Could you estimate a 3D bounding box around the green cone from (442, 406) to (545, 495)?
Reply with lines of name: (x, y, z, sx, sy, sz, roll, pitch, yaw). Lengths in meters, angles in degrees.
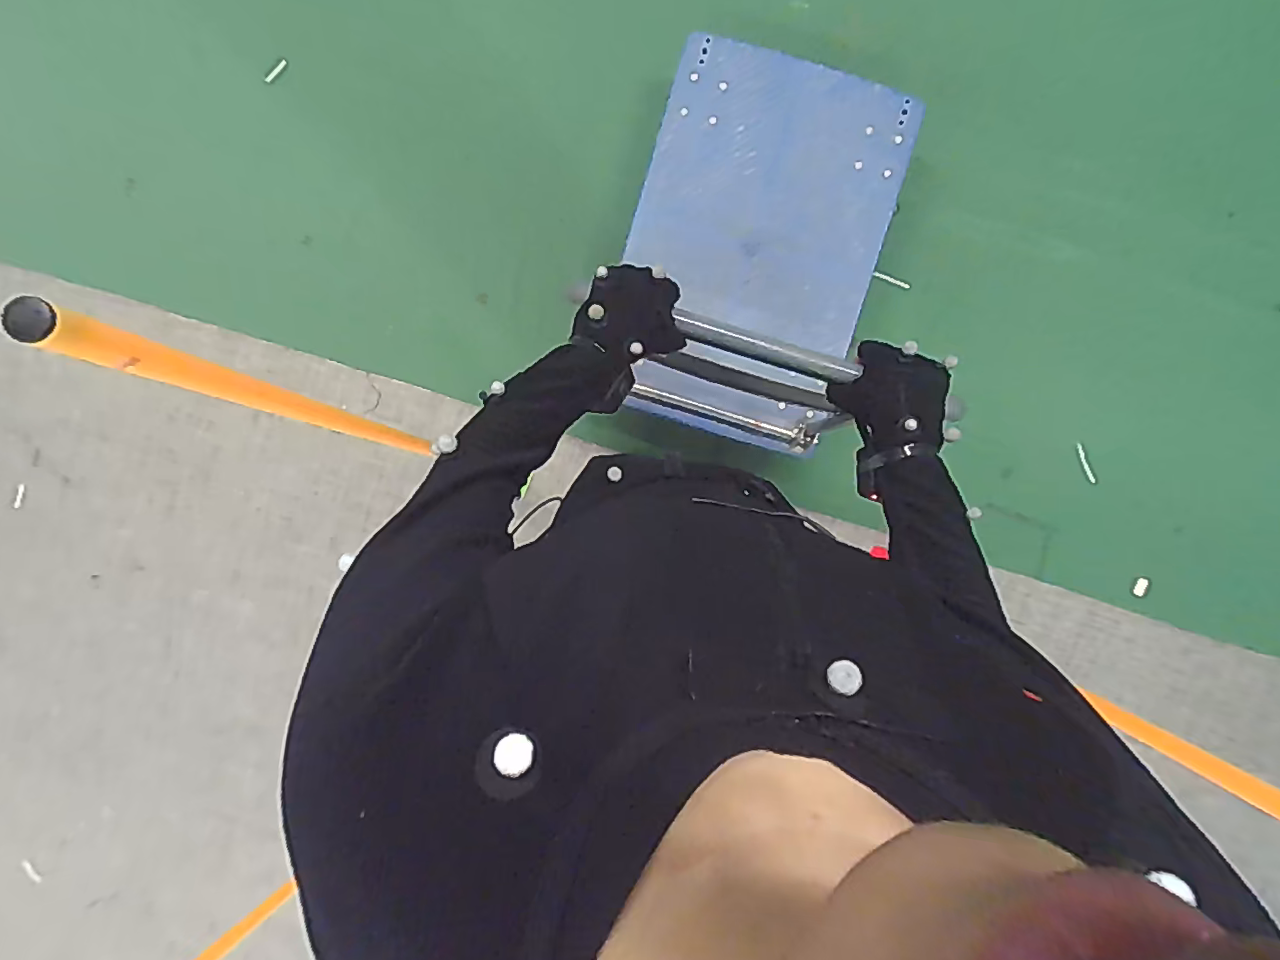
green cone: (-0.383, -0.074, 1.304, 0.202, 0.368, 0.200, 22, 93, 1)
